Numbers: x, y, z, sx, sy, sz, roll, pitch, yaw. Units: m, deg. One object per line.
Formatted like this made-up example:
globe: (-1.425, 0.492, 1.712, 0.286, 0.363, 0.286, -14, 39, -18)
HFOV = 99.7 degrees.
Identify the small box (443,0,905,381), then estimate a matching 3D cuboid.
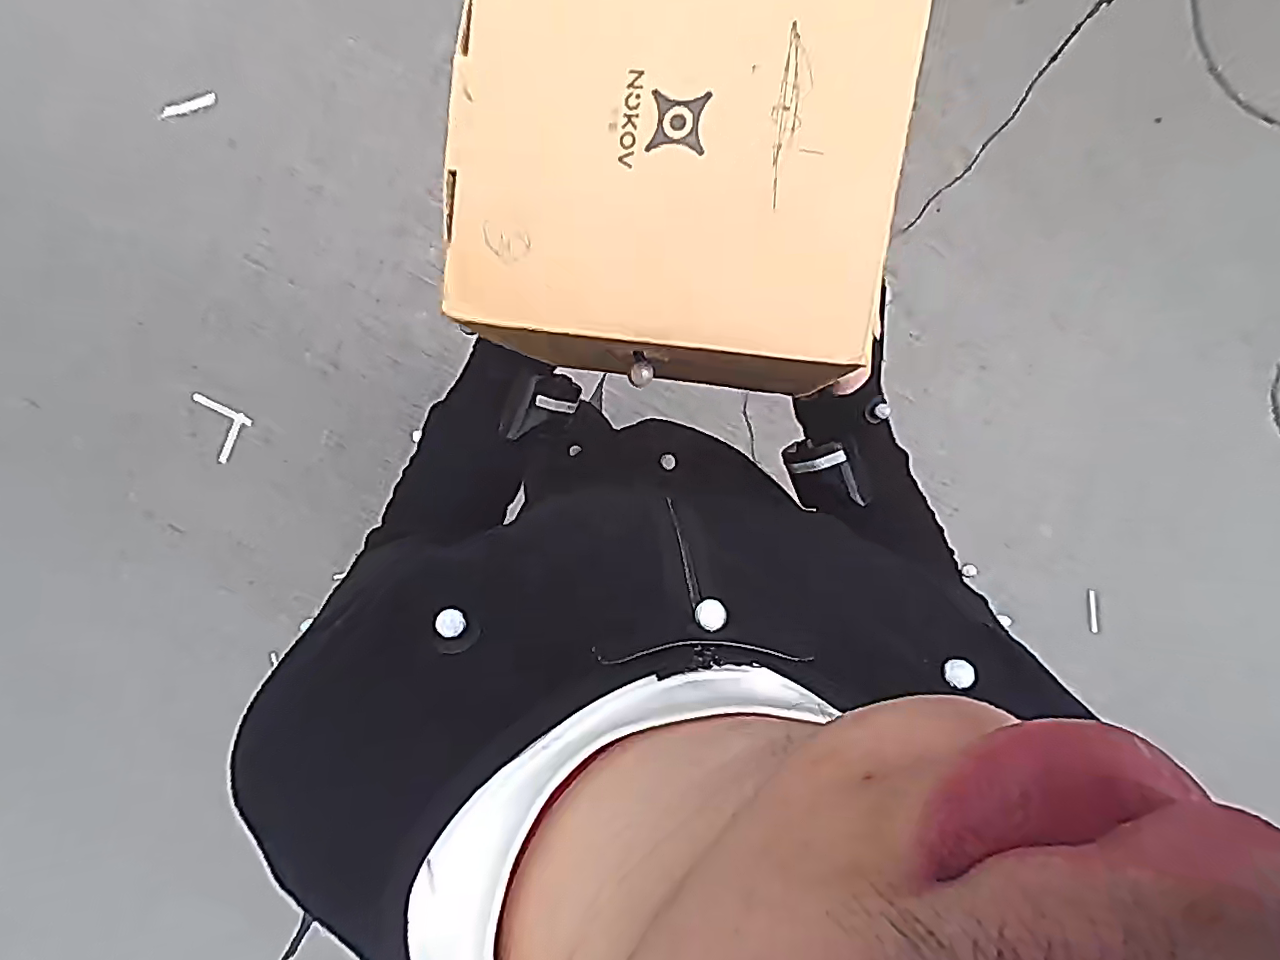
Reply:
small box: (0.019, -0.149, 0.296, 0.179, 0.176, 0.168, 8, 97, 7)
